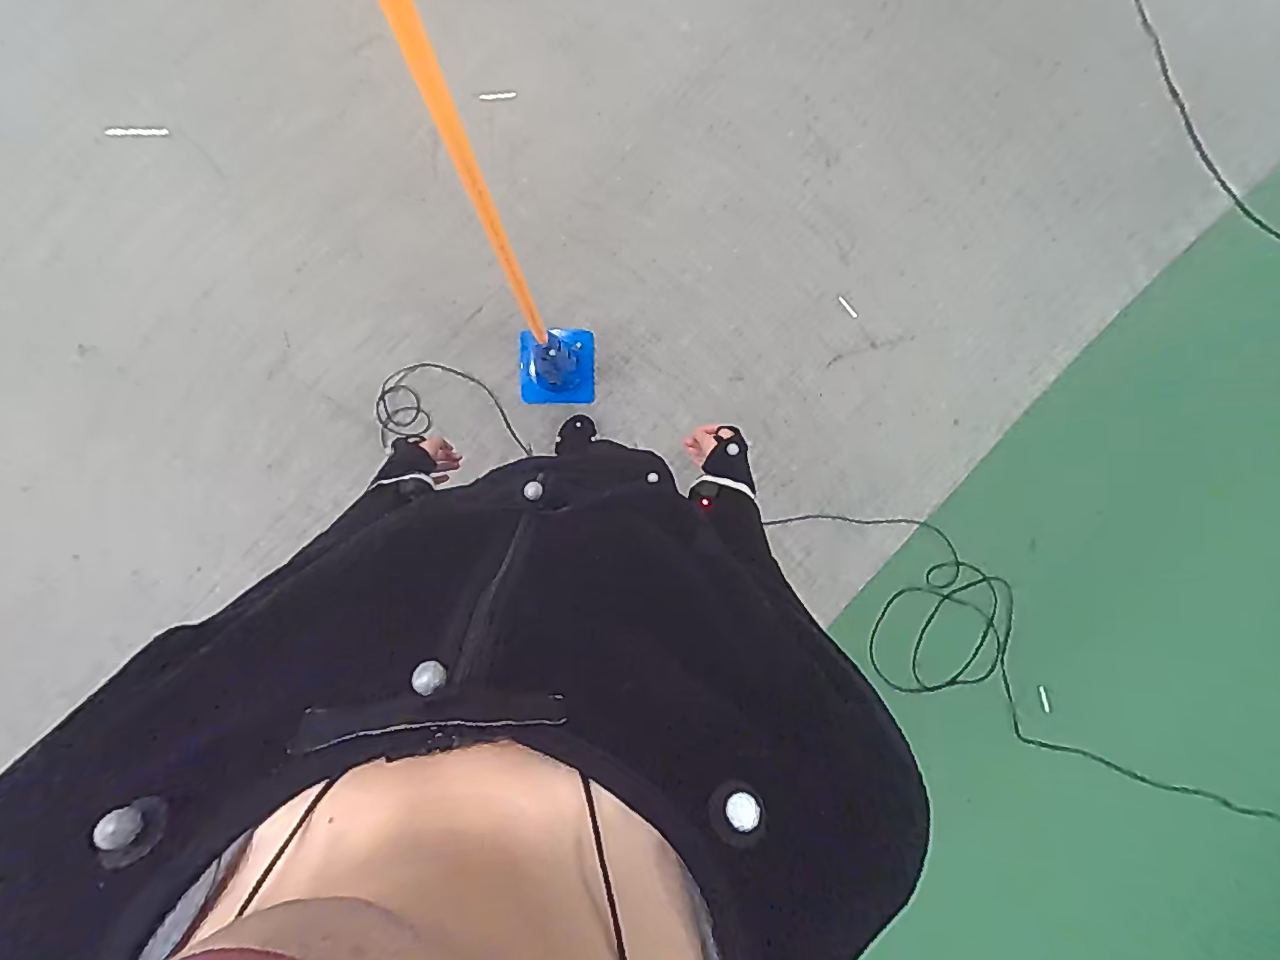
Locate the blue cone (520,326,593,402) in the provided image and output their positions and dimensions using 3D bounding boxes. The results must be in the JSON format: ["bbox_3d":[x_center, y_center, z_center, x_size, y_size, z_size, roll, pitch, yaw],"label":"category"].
[{"bbox_3d":[-0.211,-0.300,1.279,0.192,0.380,0.193,-1,92,-4],"label":"blue cone"}]
